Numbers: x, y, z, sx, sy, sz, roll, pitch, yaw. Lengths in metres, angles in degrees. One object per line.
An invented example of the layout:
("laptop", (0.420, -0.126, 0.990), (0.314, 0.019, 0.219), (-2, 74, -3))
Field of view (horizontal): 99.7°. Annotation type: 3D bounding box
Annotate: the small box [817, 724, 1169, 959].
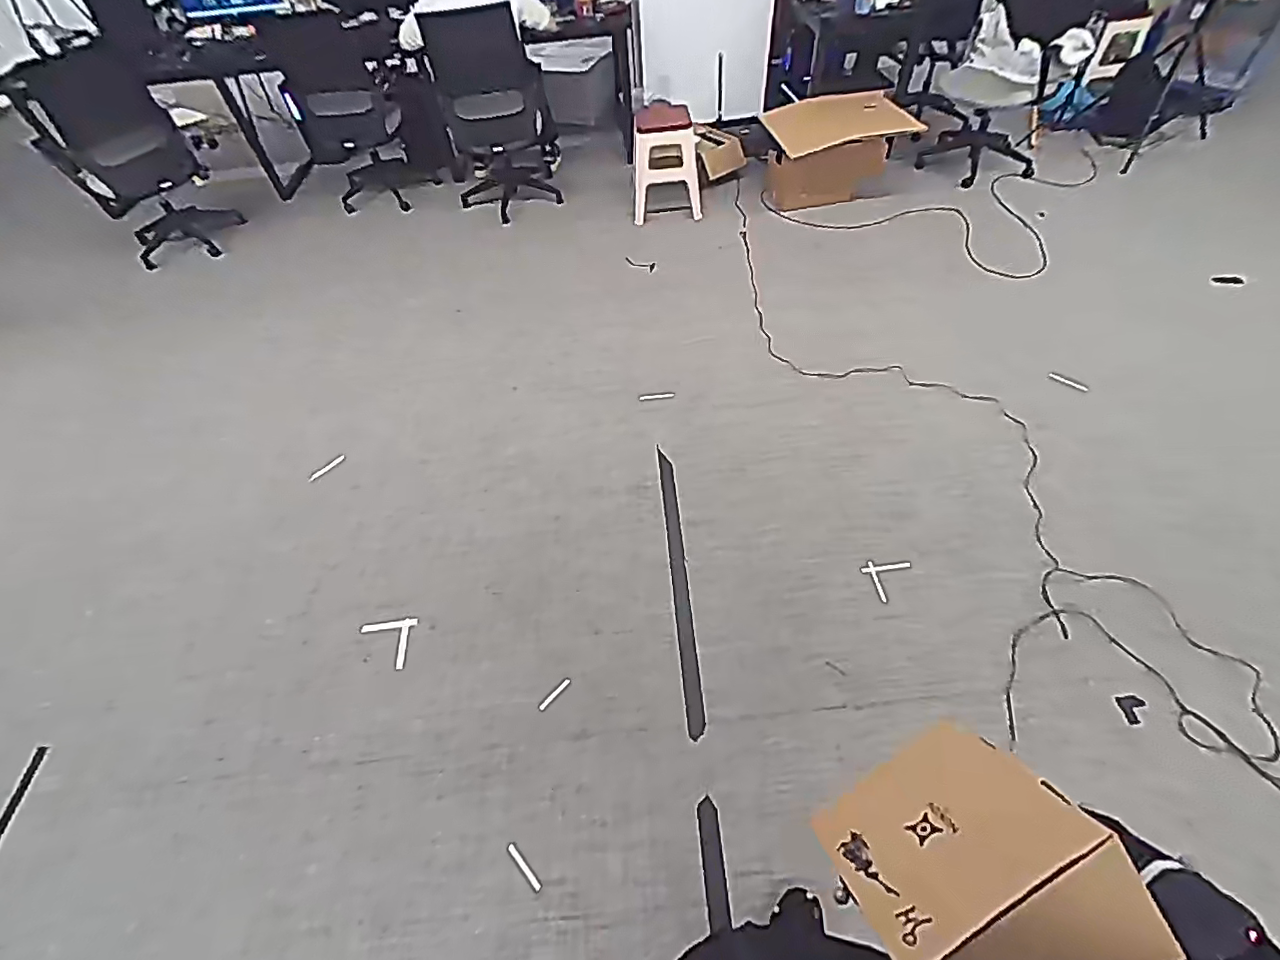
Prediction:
("small box", (0.294, 0.360, 0.463), (0.179, 0.168, 0.176), (-32, 95, -3))
